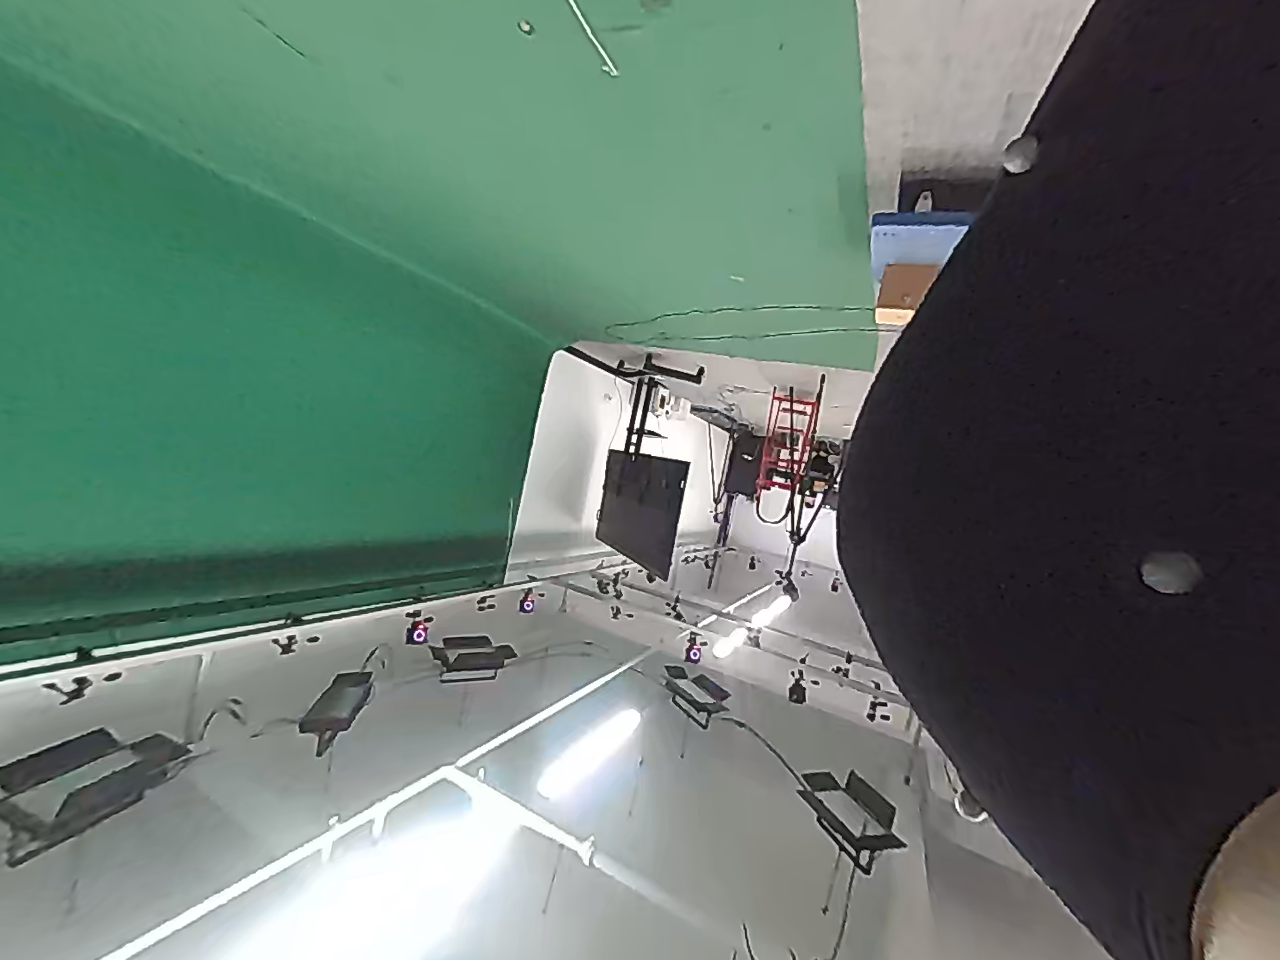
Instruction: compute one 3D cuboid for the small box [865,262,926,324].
[{"bbox_3d":[0.947,-0.694,2.008,0.179,0.176,0.168,12,-179,22],"label":"small box"}]
